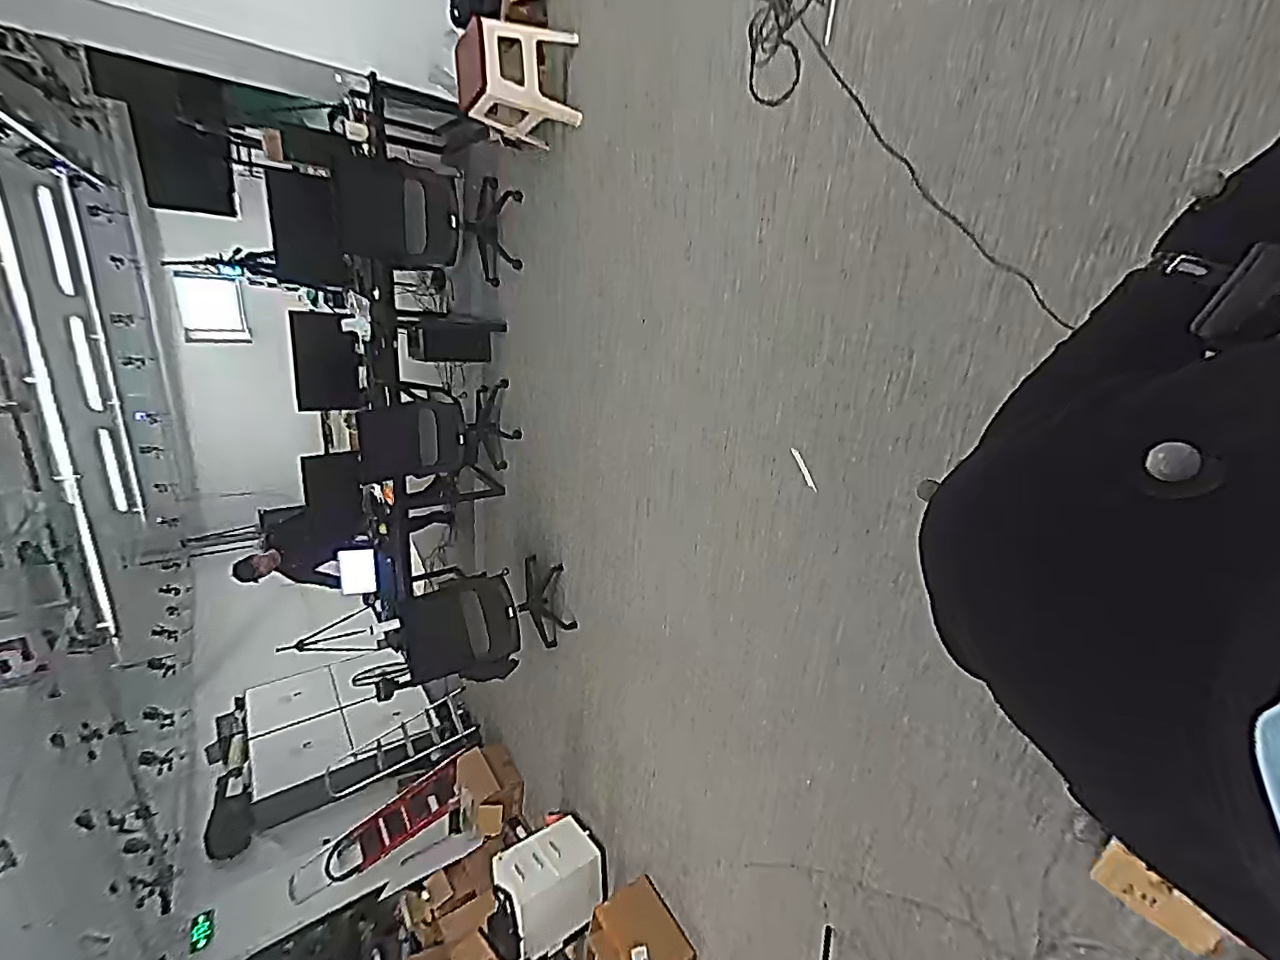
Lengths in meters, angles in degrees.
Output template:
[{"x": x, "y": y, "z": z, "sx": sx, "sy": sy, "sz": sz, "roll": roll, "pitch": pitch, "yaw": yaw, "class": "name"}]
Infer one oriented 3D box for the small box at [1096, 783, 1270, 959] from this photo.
[{"x": 0.993, "y": 0.704, "z": 0.991, "sx": 0.168, "sy": 0.176, "sz": 0.179, "roll": 34, "pitch": 125, "yaw": 46, "class": "small box"}]
